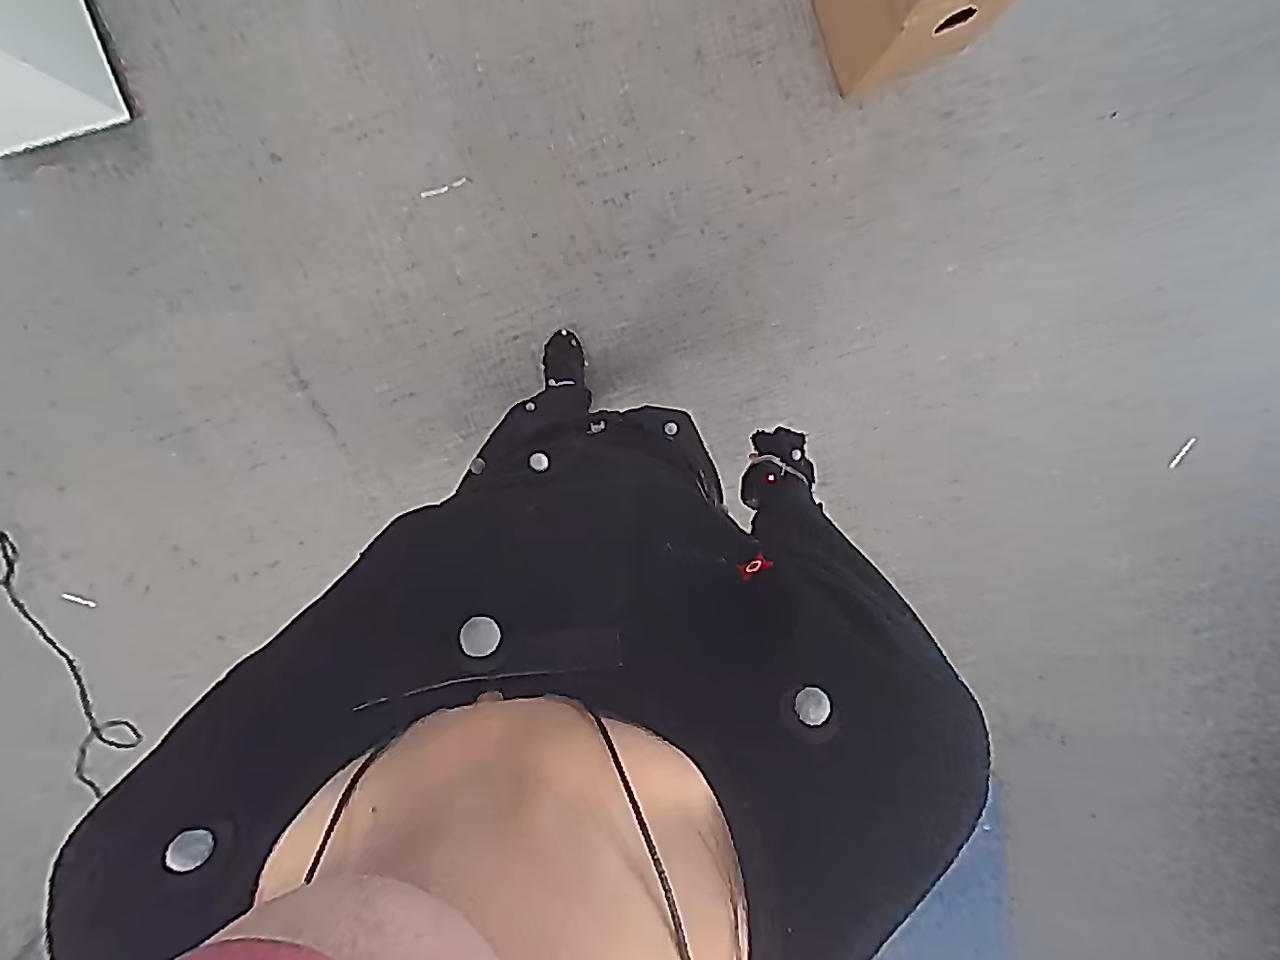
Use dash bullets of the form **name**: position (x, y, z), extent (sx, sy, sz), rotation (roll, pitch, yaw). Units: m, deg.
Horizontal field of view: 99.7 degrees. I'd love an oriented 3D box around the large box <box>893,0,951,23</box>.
- **large box**: position (0.548, -1.073, 0.839), extent (0.320, 0.320, 0.408), rotation (-24, 99, 5)
